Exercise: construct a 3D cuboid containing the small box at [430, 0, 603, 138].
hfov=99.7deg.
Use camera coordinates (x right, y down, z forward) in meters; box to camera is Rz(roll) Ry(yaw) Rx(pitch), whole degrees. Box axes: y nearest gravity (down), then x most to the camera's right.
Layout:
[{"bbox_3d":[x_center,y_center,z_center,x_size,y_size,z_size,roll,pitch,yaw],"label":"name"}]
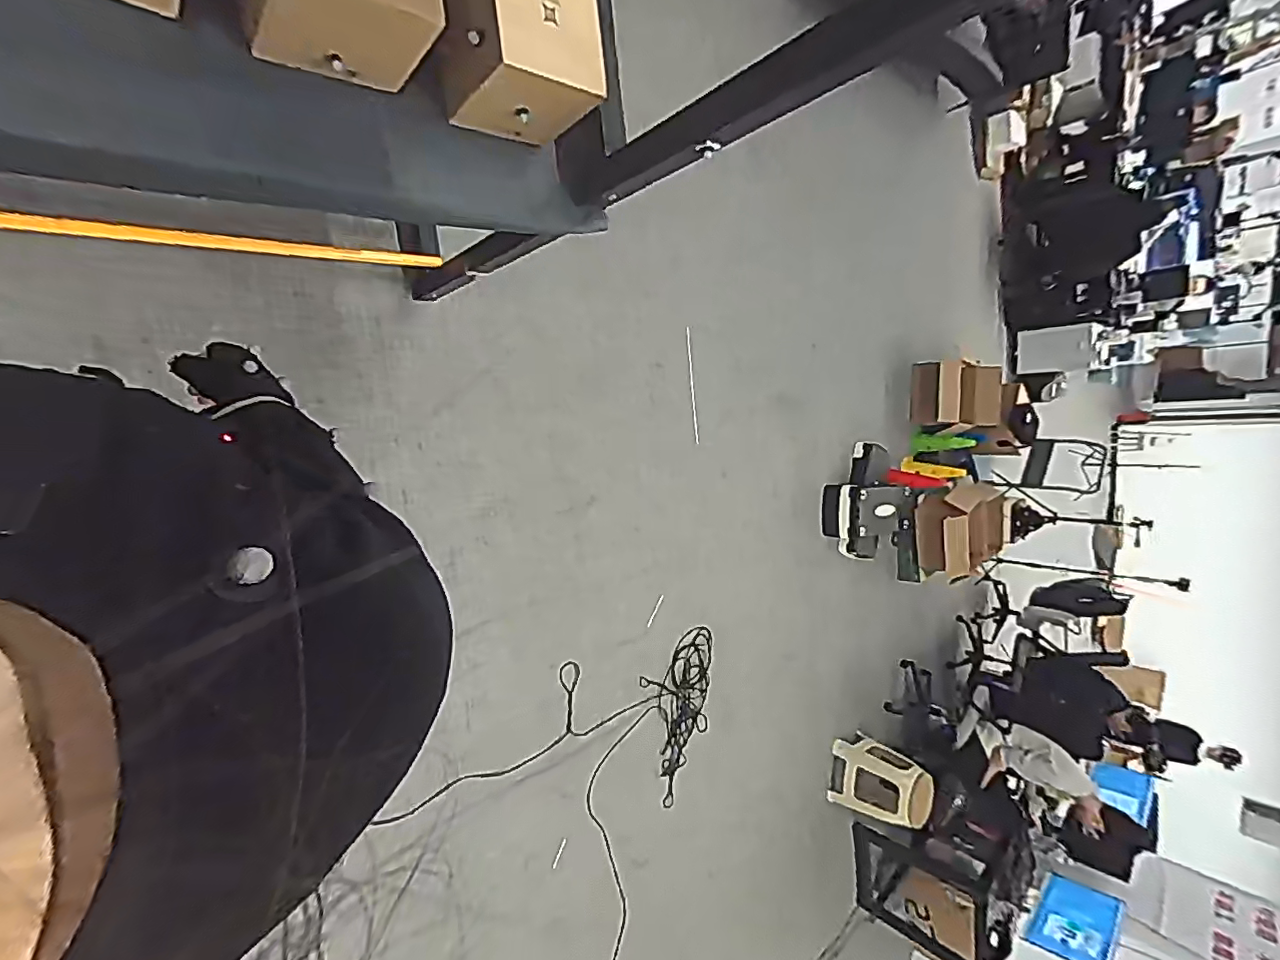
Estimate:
[{"bbox_3d":[-0.174,-0.614,0.755,0.168,0.176,0.179,-15,102,-41],"label":"small box"}]
